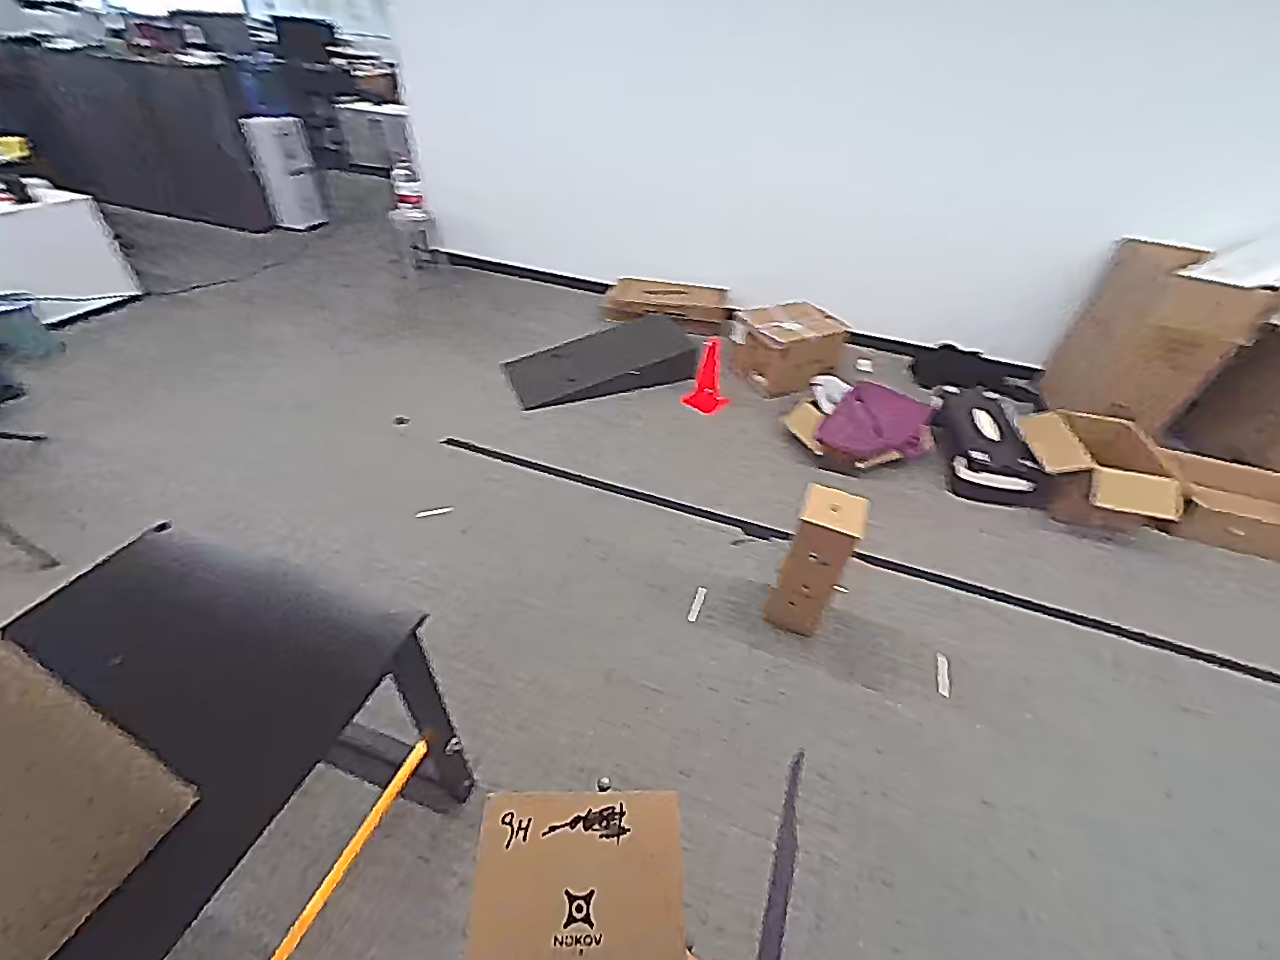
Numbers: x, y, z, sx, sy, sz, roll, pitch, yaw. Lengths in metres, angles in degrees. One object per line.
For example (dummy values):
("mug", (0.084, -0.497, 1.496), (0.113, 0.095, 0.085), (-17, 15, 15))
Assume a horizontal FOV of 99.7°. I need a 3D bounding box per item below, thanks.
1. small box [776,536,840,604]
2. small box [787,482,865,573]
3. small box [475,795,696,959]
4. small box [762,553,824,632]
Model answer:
("small box", (0.541, 0.255, 1.710), (0.168, 0.176, 0.179), (18, 43, 16))
("small box", (0.545, 0.140, 1.594), (0.168, 0.176, 0.179), (18, 44, 16))
("small box", (-0.040, 0.383, 0.471), (0.168, 0.176, 0.179), (1, 54, -1))
("small box", (0.523, 0.381, 1.815), (0.179, 0.176, 0.168), (19, 43, 15))
